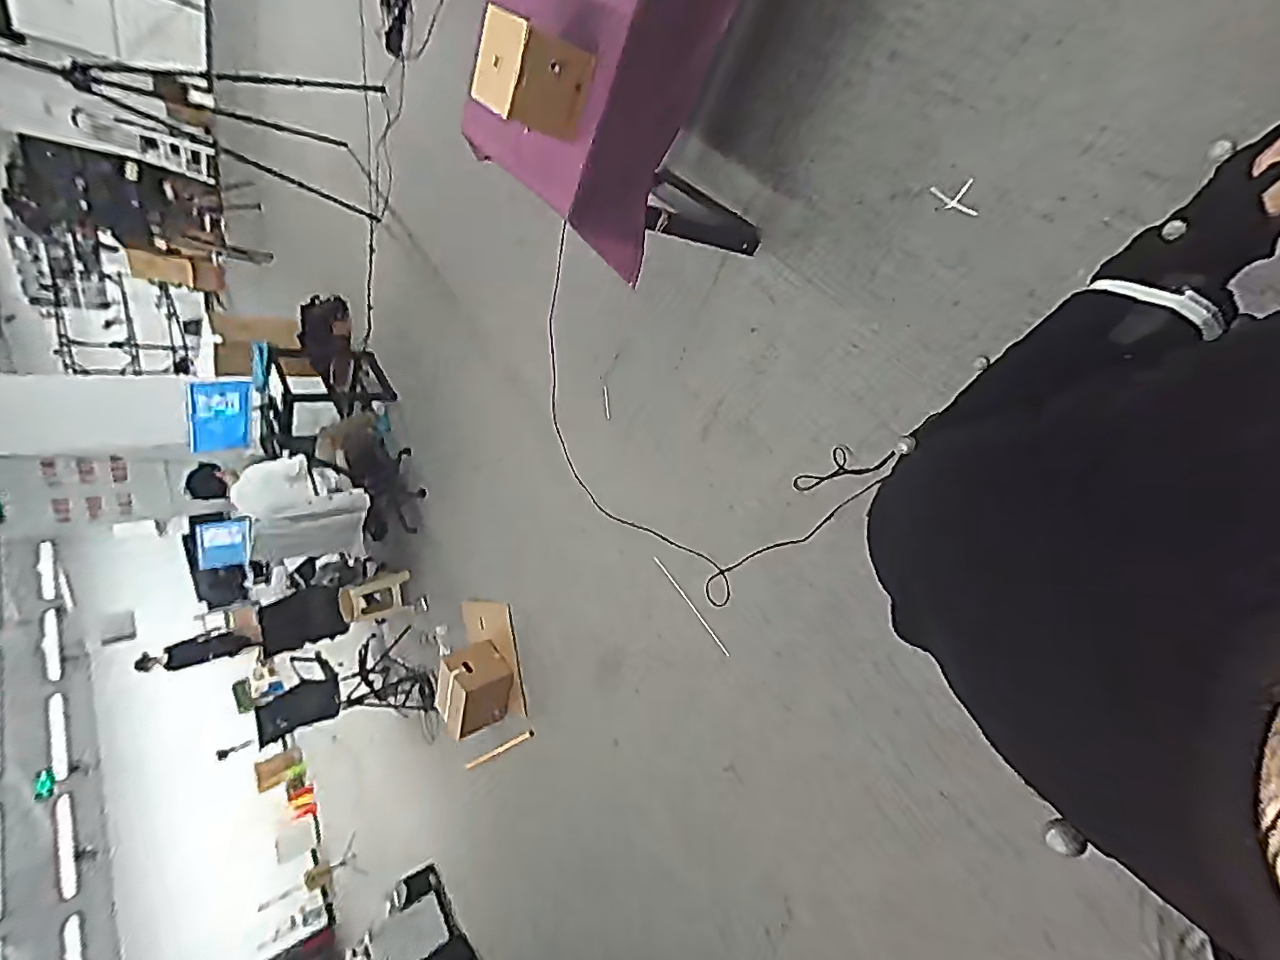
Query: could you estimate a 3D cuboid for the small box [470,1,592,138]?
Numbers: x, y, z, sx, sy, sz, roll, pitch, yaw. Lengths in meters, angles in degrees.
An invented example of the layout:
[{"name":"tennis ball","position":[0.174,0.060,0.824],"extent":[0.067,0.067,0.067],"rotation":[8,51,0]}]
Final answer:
[{"name":"small box","position":[-0.228,-0.852,1.136],"extent":[0.179,0.176,0.168],"rotation":[49,127,30]}]
